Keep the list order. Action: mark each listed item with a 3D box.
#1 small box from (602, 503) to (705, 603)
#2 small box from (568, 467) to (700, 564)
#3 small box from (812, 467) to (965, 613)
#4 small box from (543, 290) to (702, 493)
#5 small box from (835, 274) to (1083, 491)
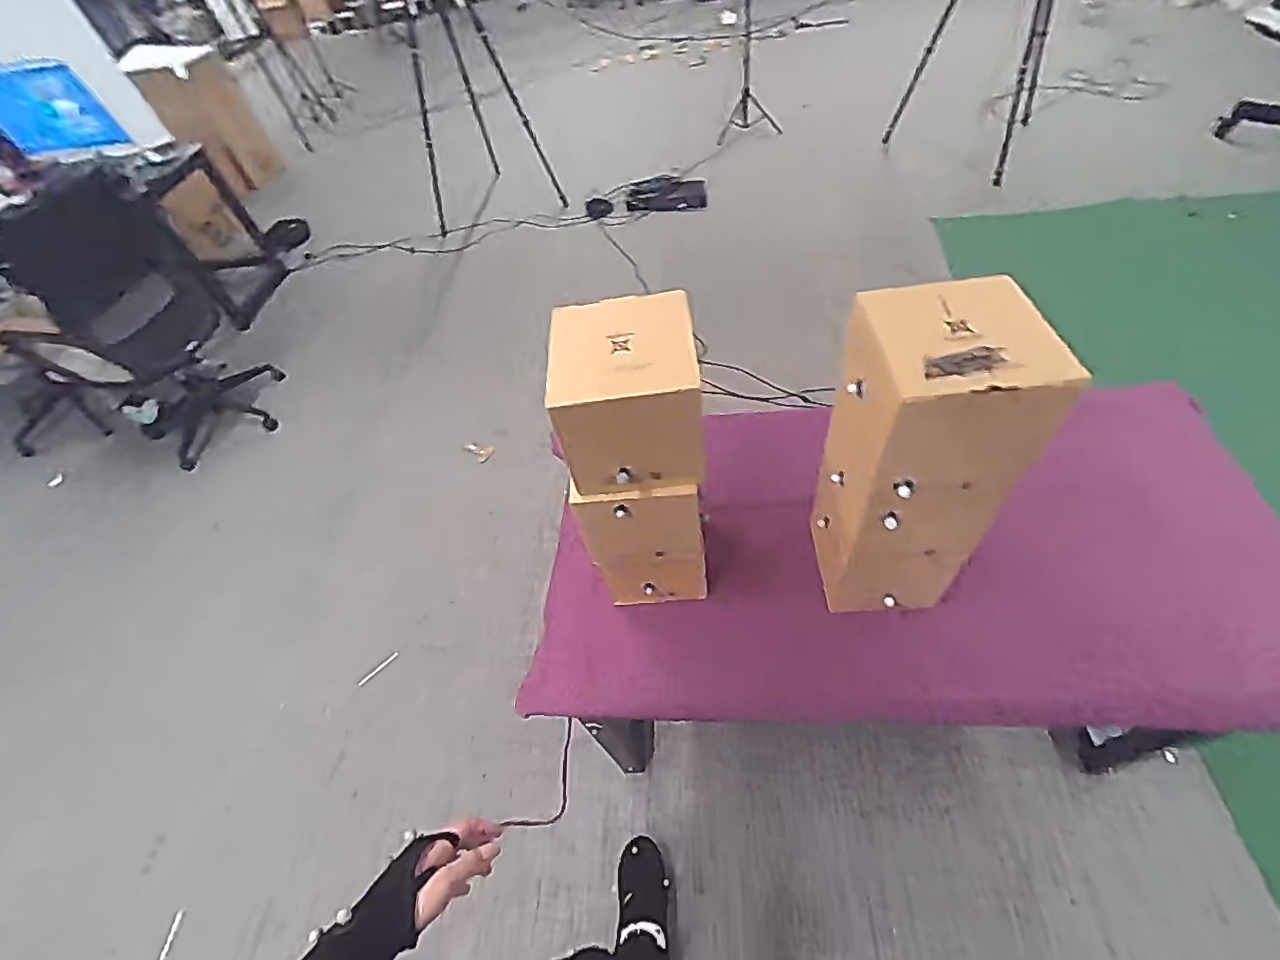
[{"bbox_3d":[0.020,0.092,0.928,0.168,0.176,0.179,-6,52,4],"label":"small box"},{"bbox_3d":[-0.001,0.003,0.792,0.168,0.176,0.179,-5,52,6],"label":"small box"},{"bbox_3d":[0.379,0.095,0.865,0.168,0.176,0.179,-4,52,7],"label":"small box"},{"bbox_3d":[-0.014,-0.106,0.669,0.168,0.176,0.179,-6,52,4],"label":"small box"},{"bbox_3d":[0.329,-0.099,0.604,0.168,0.176,0.179,-5,51,6],"label":"small box"}]
